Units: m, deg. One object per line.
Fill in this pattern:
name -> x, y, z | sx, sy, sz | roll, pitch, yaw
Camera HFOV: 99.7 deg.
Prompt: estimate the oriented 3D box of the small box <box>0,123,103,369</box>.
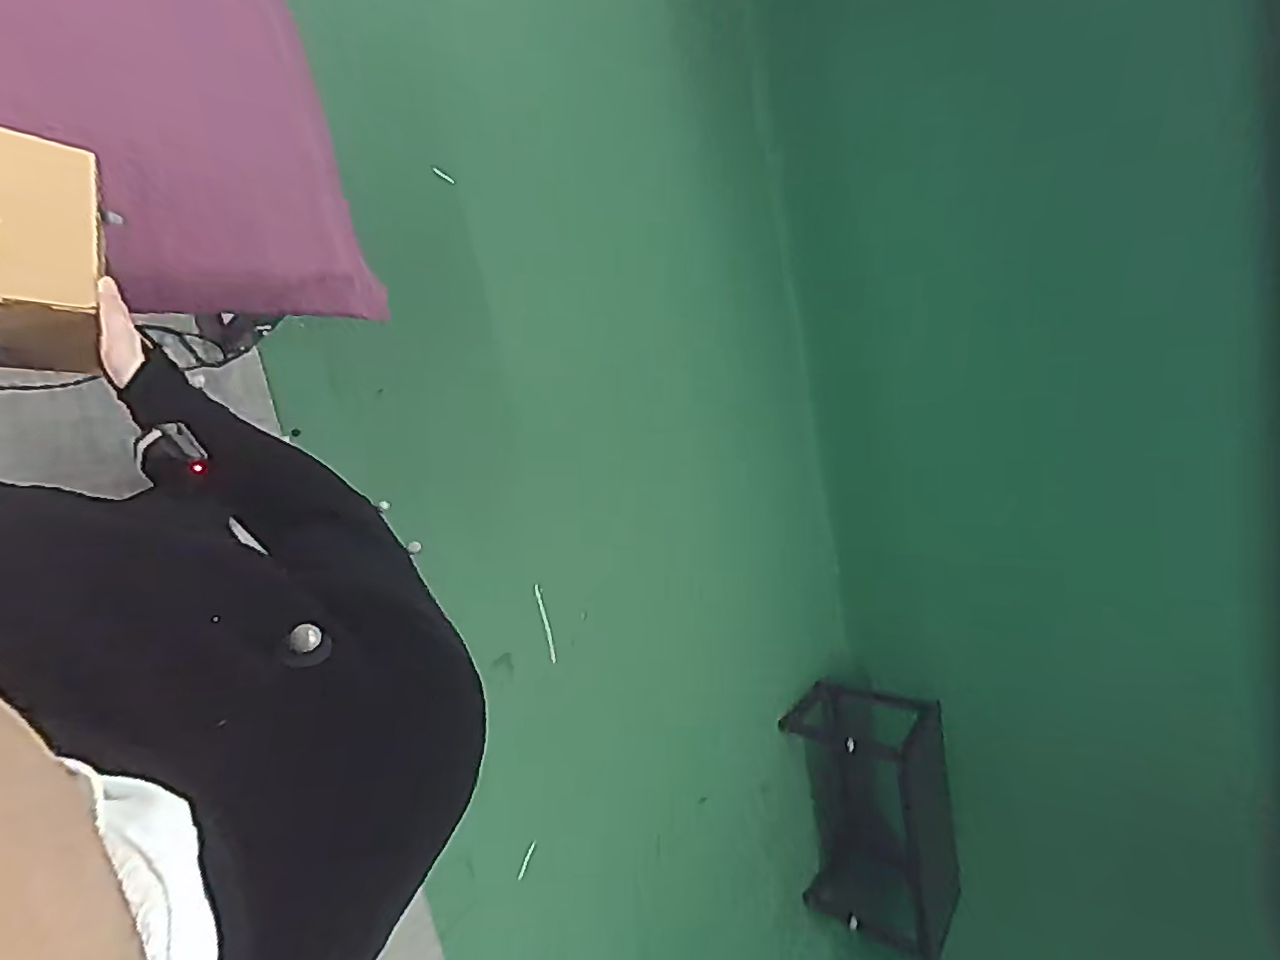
small box -> -0.646, -0.229, 0.528 | 0.168, 0.176, 0.179 | -1, 78, -43
